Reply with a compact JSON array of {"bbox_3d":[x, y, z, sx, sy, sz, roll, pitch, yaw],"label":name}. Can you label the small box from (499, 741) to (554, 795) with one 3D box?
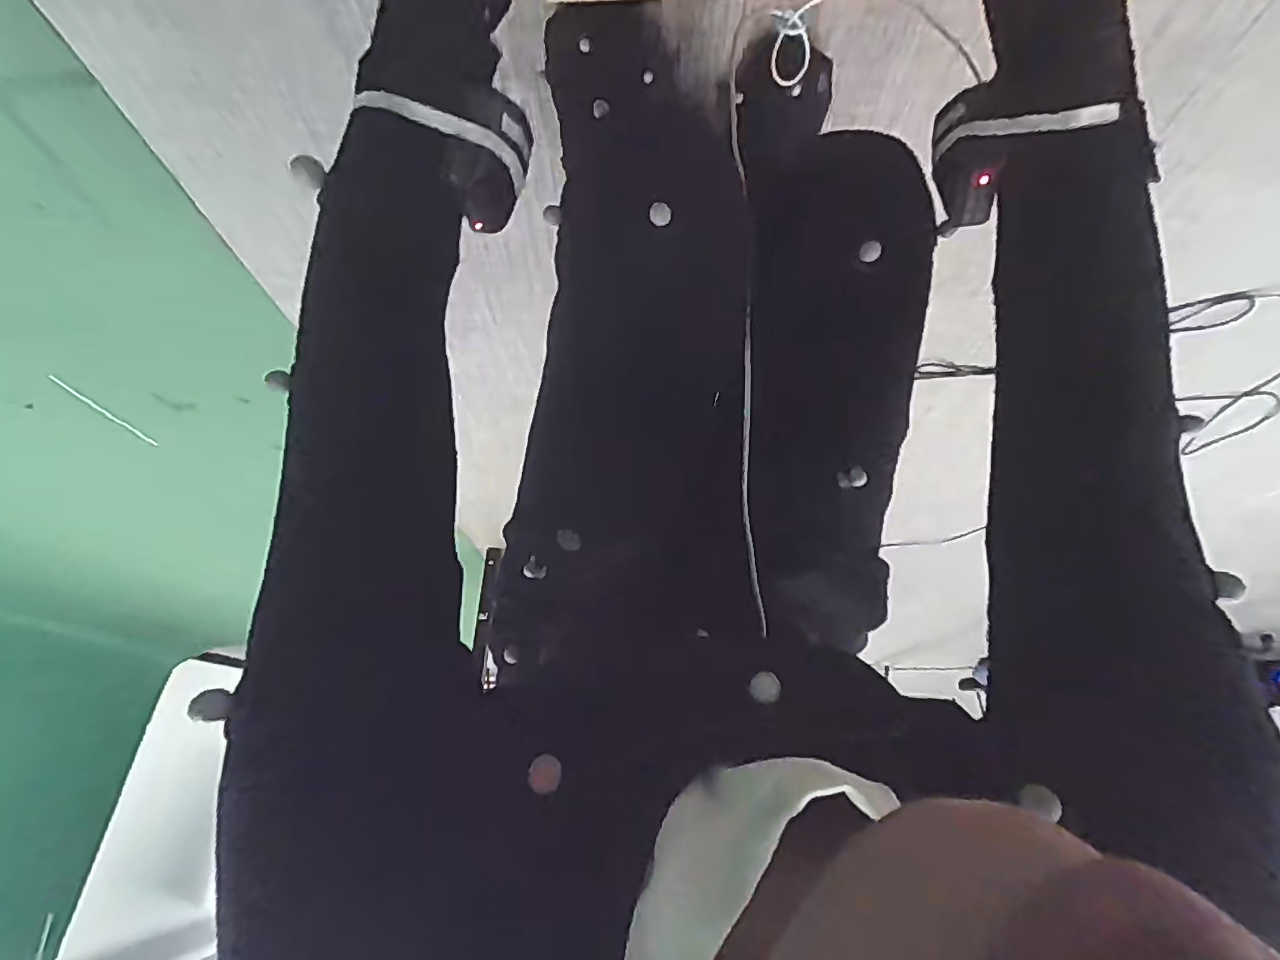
[{"bbox_3d":[-0.423,1.089,2.051,0.168,0.176,0.179,0,154,1],"label":"small box"}]
